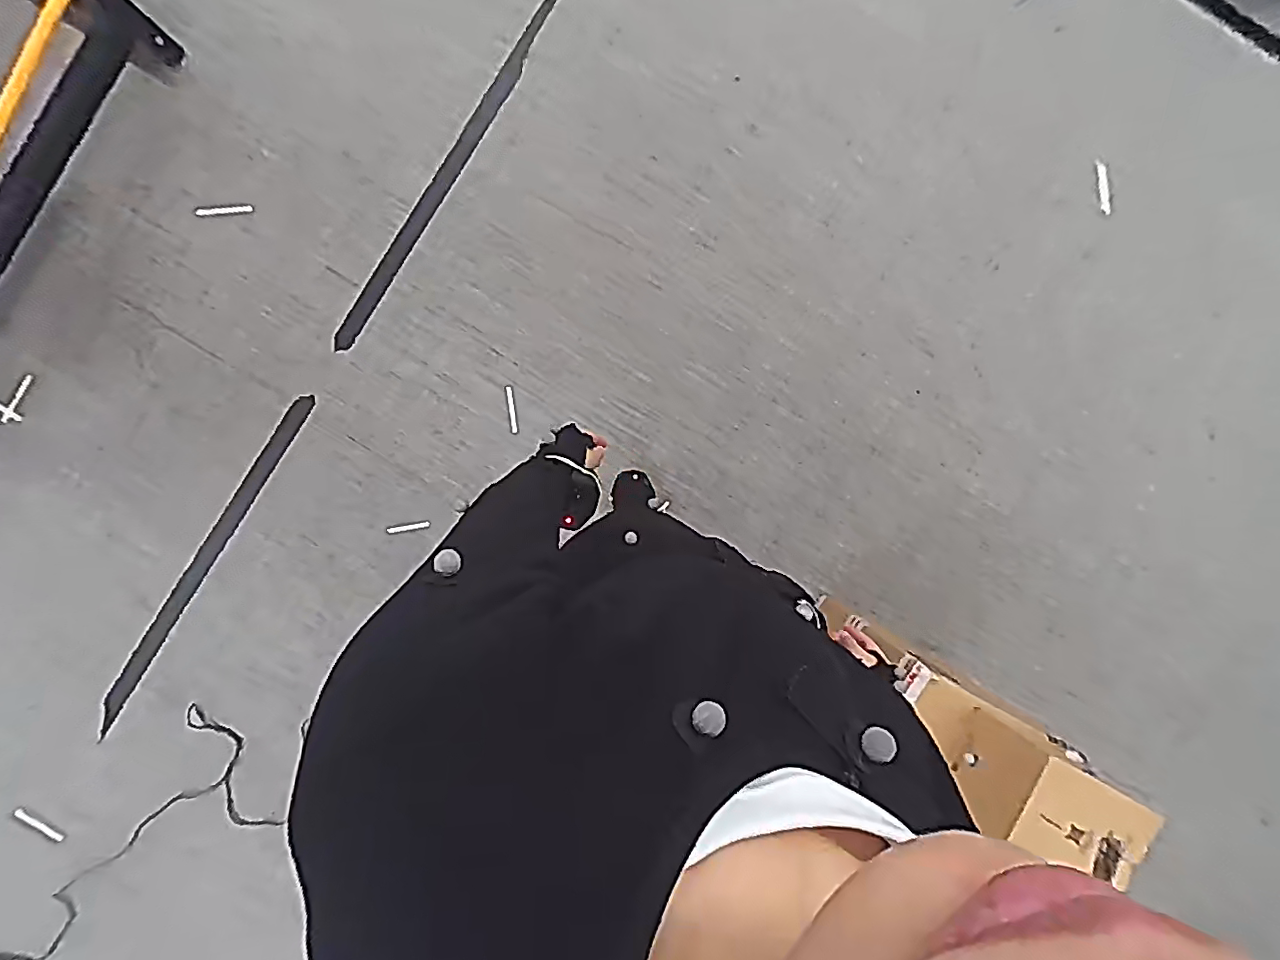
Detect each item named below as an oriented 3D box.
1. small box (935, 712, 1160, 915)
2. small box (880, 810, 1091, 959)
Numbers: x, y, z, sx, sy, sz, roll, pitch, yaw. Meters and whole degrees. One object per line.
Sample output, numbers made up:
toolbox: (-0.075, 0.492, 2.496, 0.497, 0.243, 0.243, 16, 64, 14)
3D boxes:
small box: (0.598, 0.485, 0.818, 0.179, 0.176, 0.168, 29, 89, 1)
small box: (0.511, 0.661, 0.819, 0.179, 0.176, 0.168, 30, 94, 0)
